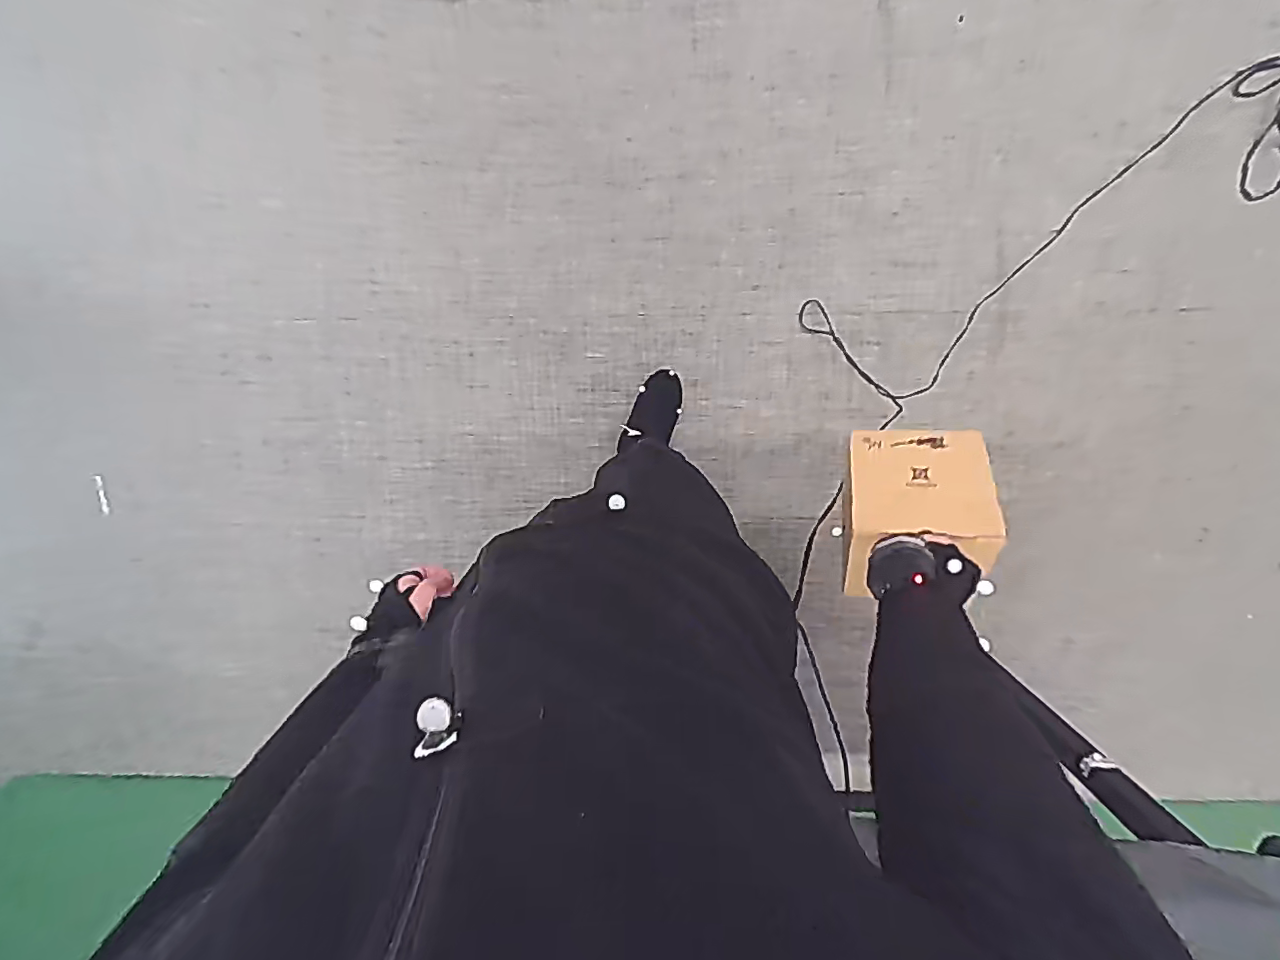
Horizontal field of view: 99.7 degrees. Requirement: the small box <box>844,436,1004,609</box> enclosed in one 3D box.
[{"bbox_3d":[0.377,0.059,0.748,0.168,0.179,0.176,3,140,18],"label":"small box"}]
